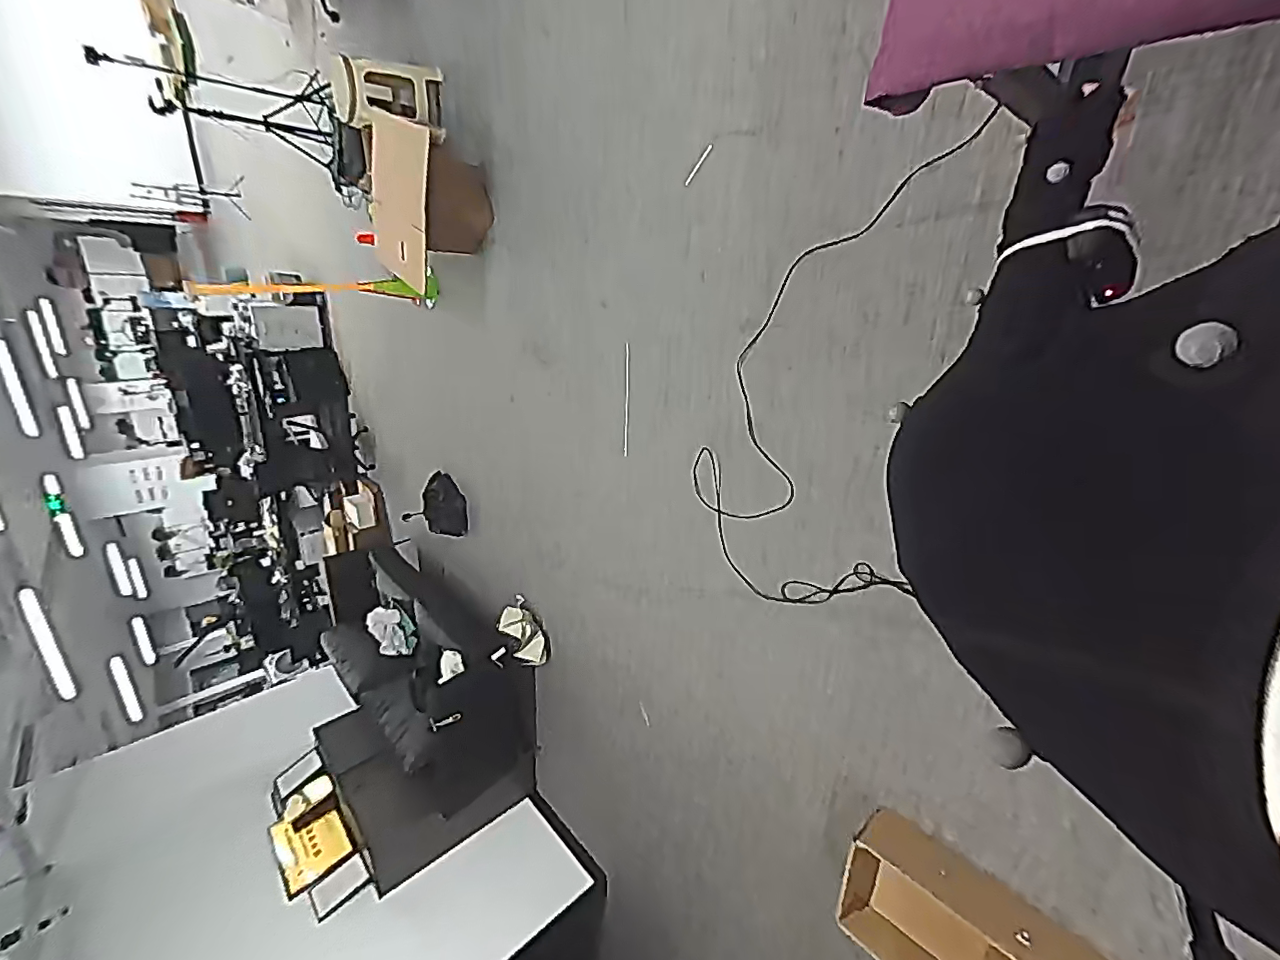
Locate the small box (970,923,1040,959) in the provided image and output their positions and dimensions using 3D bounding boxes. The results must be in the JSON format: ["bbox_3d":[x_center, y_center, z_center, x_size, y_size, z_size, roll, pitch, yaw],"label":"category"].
[{"bbox_3d":[0.990,1.378,1.471,0.168,0.176,0.179,23,120,42],"label":"small box"}]
